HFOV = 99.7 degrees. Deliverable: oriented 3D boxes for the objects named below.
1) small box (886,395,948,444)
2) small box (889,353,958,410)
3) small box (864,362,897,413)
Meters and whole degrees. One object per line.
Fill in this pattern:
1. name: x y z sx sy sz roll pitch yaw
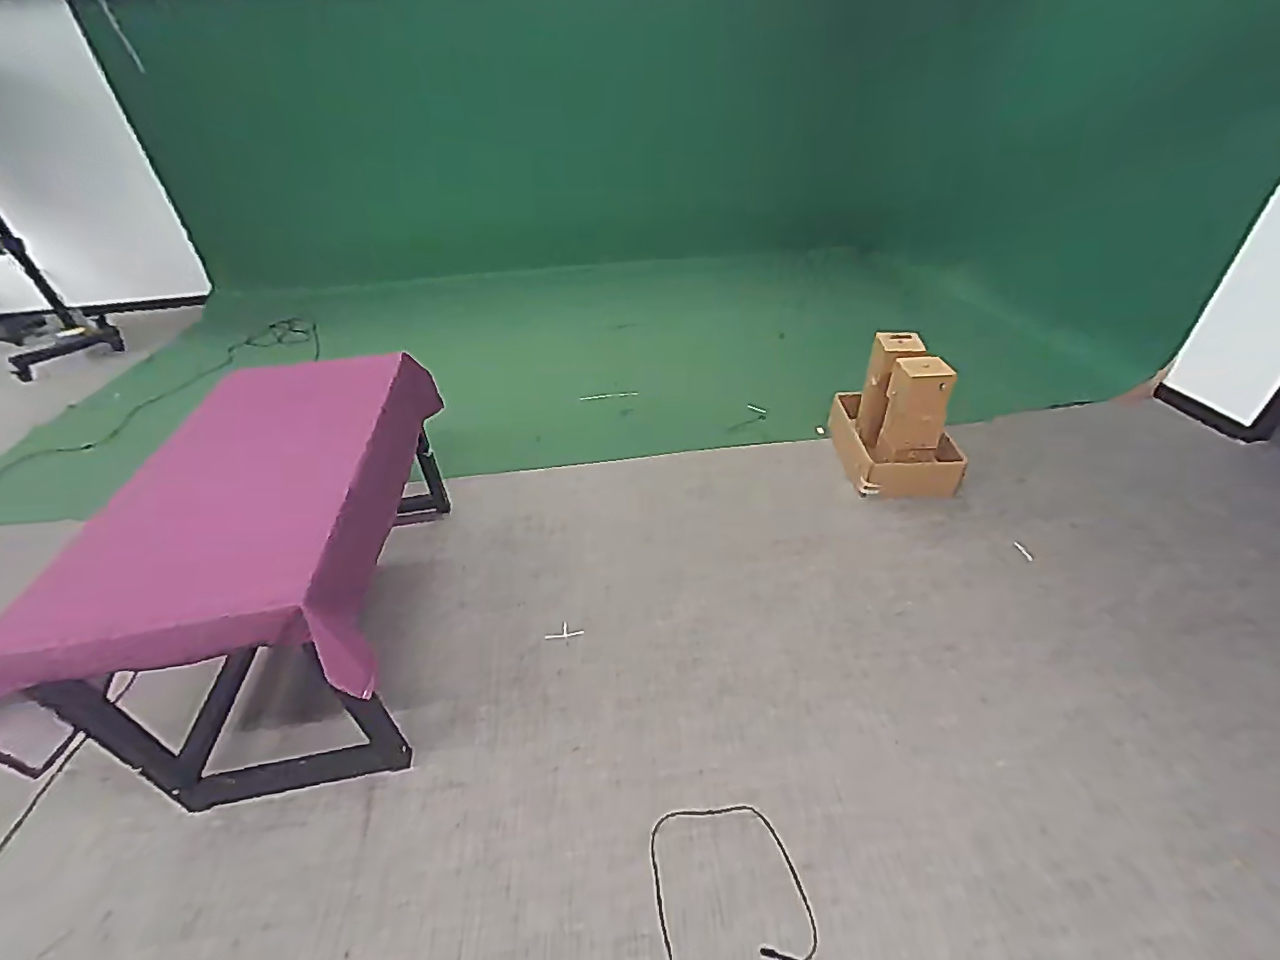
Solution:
1. small box: 1.149 -0.259 2.255 0.168 0.176 0.179 -3 37 3
2. small box: 1.126 -0.393 2.160 0.179 0.176 0.168 -3 37 3
3. small box: 1.131 -0.421 2.467 0.168 0.176 0.179 4 41 11
